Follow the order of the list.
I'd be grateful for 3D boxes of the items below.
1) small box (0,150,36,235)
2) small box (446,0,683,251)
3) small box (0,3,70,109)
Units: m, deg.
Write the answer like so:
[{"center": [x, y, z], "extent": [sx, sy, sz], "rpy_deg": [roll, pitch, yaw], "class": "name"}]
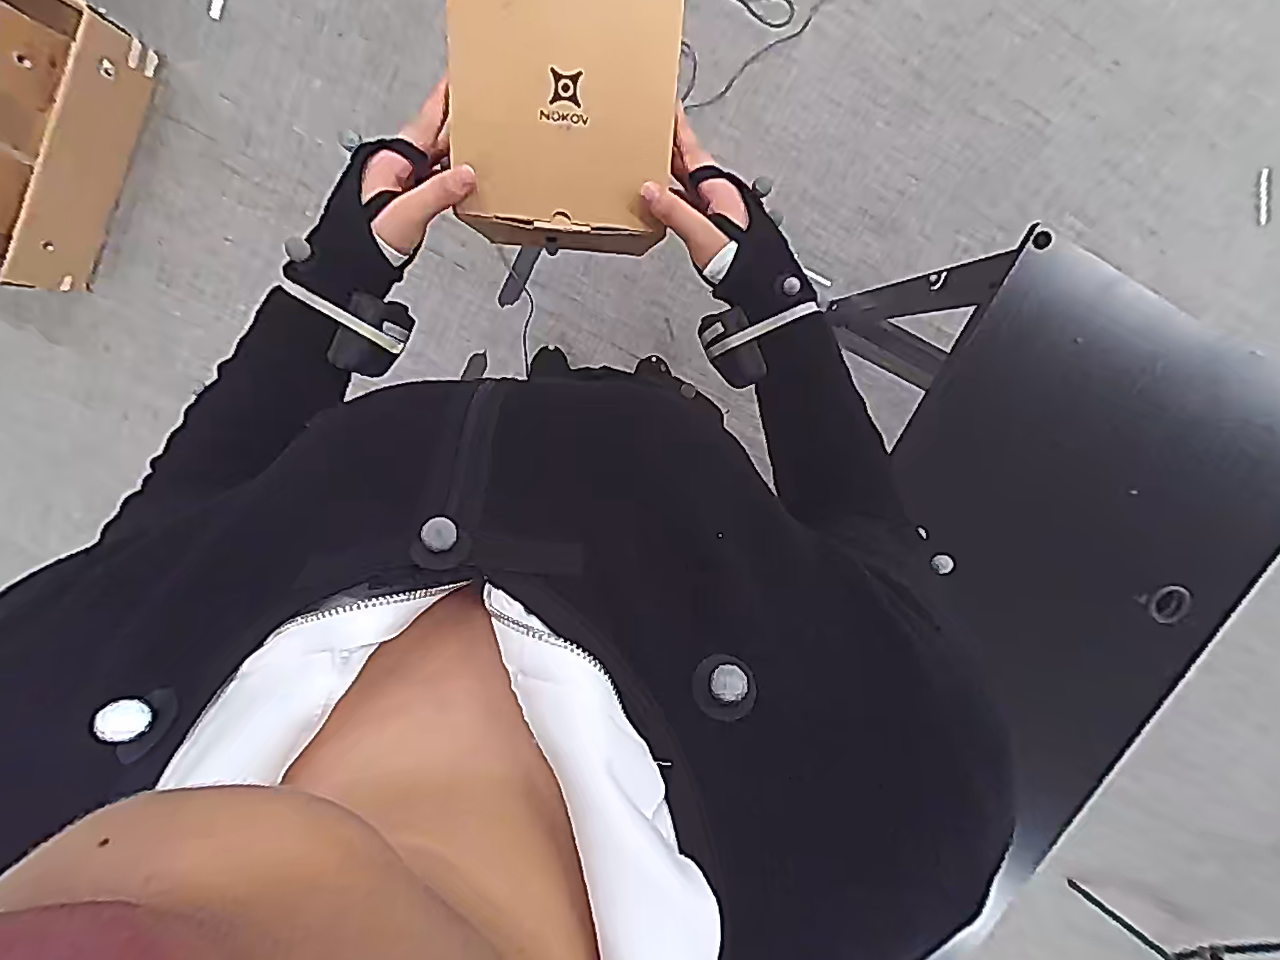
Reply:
[{"center": [-1.506, -0.668, 1.184], "extent": [0.168, 0.176, 0.179], "rpy_deg": [27, 98, -10], "class": "small box"}, {"center": [-0.064, -0.306, 0.467], "extent": [0.168, 0.176, 0.179], "rpy_deg": [2, 108, -7], "class": "small box"}, {"center": [-1.379, -0.924, 1.134], "extent": [0.179, 0.176, 0.168], "rpy_deg": [30, 100, -10], "class": "small box"}]
